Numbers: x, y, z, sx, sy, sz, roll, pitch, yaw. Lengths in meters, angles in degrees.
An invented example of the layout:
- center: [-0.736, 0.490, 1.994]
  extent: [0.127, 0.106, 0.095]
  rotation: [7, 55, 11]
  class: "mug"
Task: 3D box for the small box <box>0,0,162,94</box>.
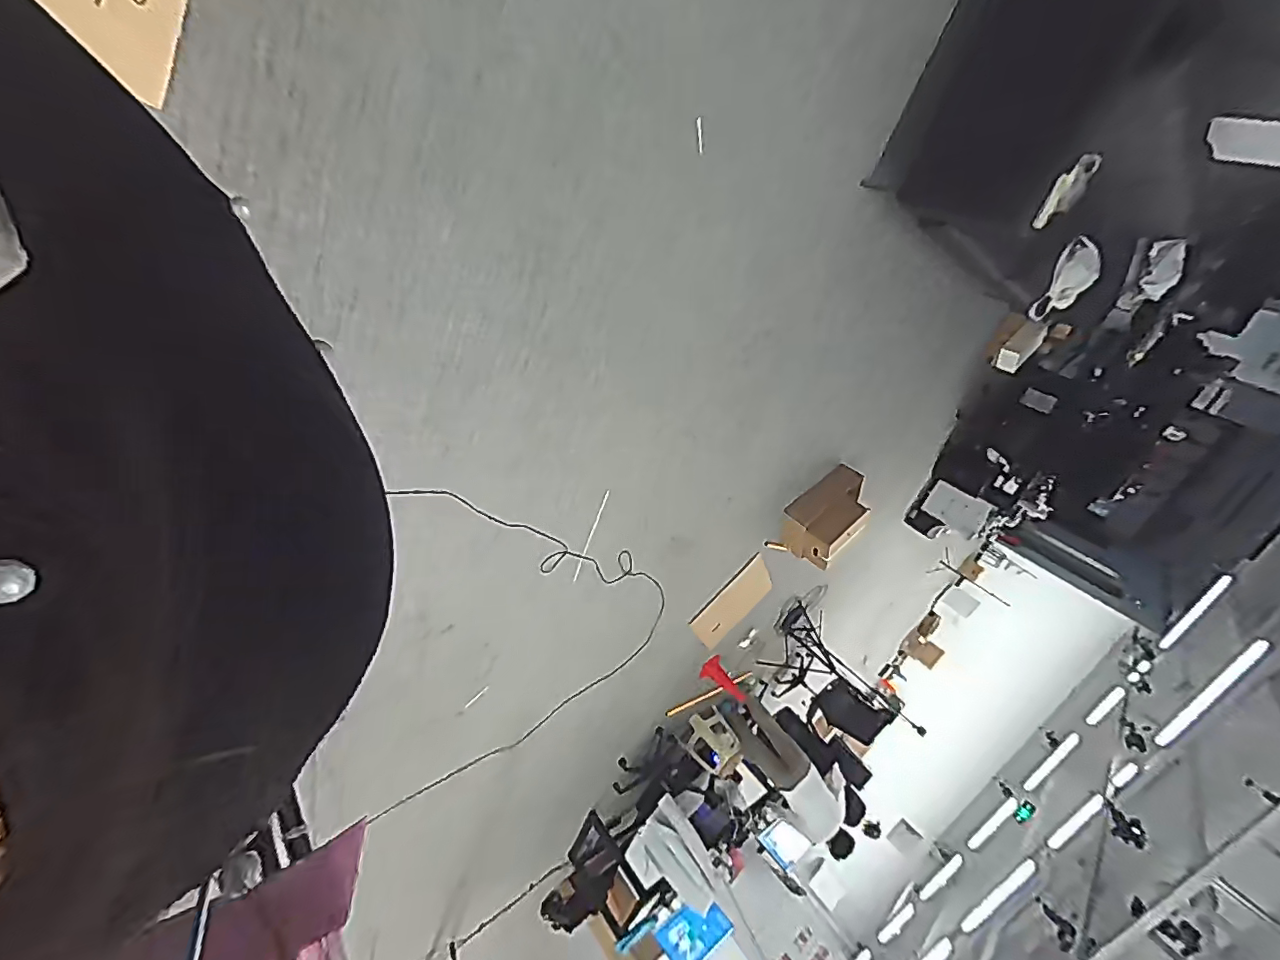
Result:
- center: [-0.639, -0.563, 0.587]
  extent: [0.168, 0.176, 0.179]
  rotation: [3, 117, -48]
  class: "small box"
